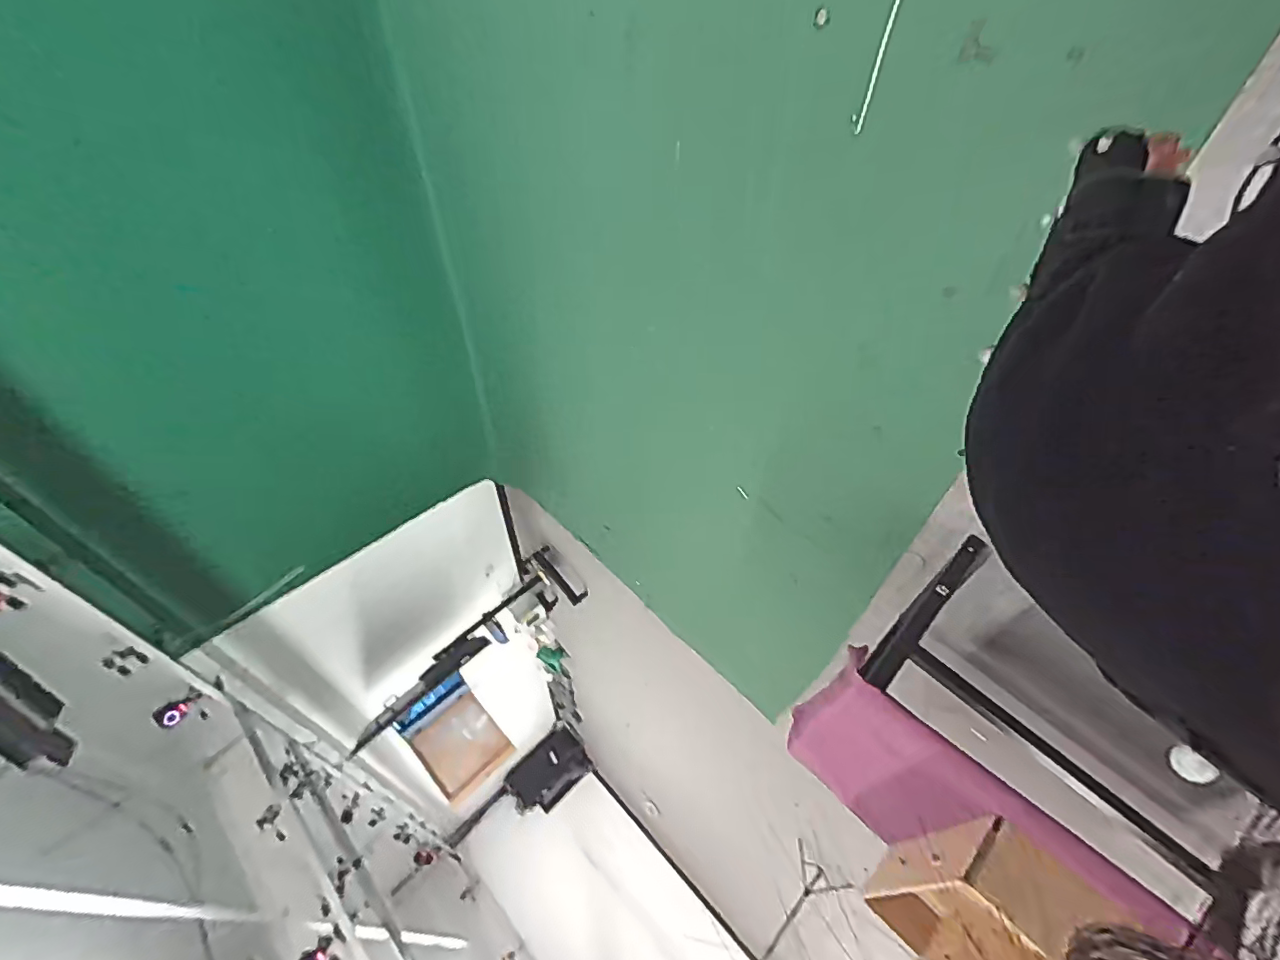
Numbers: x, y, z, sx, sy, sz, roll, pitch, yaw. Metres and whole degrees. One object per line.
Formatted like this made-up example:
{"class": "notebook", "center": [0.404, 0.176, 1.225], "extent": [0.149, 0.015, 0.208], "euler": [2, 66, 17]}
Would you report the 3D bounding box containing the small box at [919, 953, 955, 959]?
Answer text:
{"class": "small box", "center": [0.751, 1.281, 1.291], "extent": [0.179, 0.176, 0.168], "euler": [36, 146, 27]}
